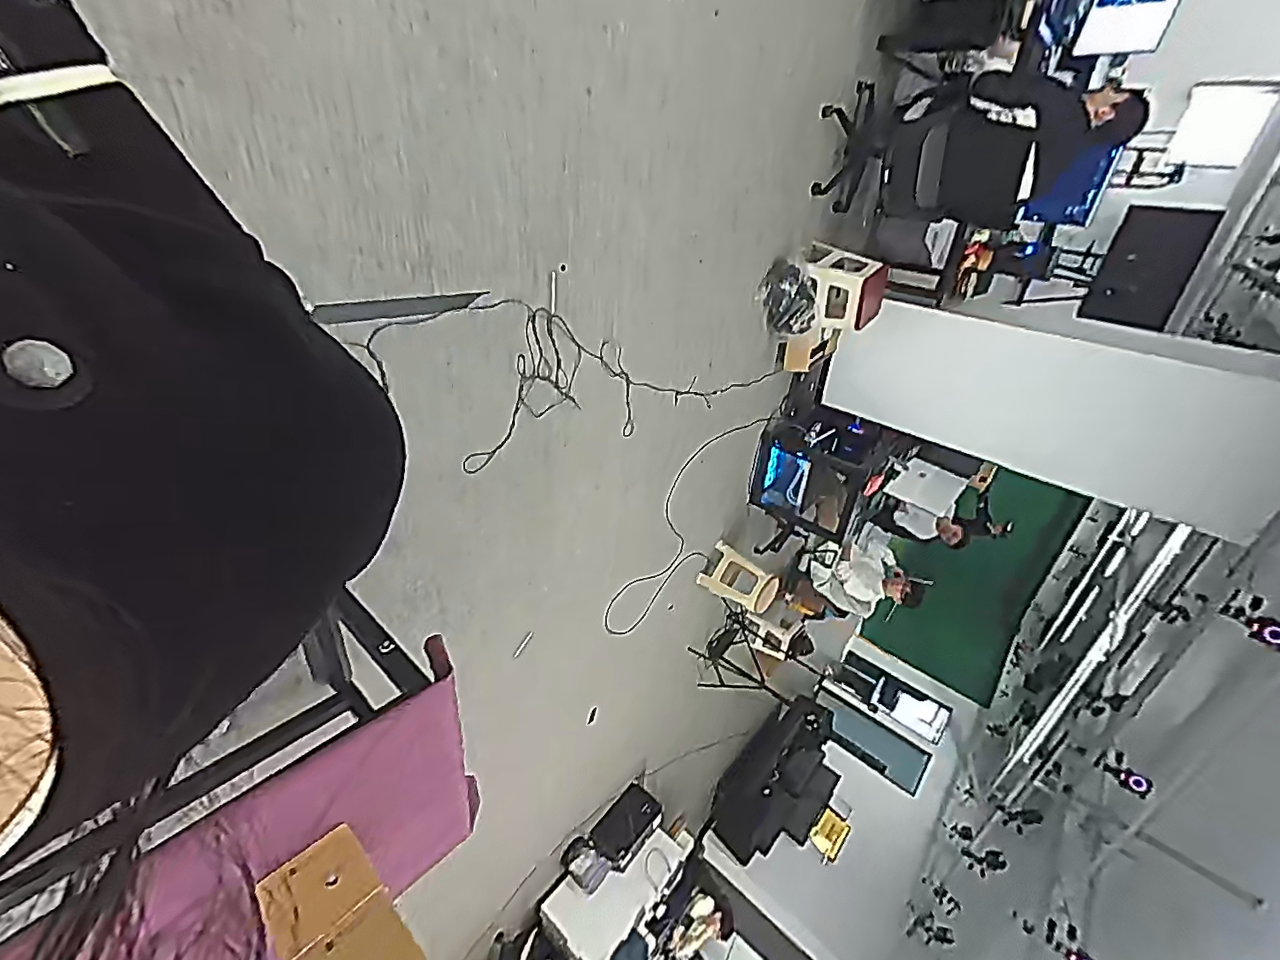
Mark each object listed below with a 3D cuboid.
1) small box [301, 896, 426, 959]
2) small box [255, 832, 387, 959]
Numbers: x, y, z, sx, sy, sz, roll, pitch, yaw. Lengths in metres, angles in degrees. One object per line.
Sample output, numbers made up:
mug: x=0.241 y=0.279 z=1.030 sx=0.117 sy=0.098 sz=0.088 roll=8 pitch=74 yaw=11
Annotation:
small box: x=-0.477 y=0.891 z=0.947 sx=0.168 sy=0.176 sz=0.179 roll=-26 pitch=133 yaw=-44
small box: x=-0.600 y=0.822 z=1.032 sx=0.168 sy=0.176 sz=0.179 roll=-25 pitch=132 yaw=-44
